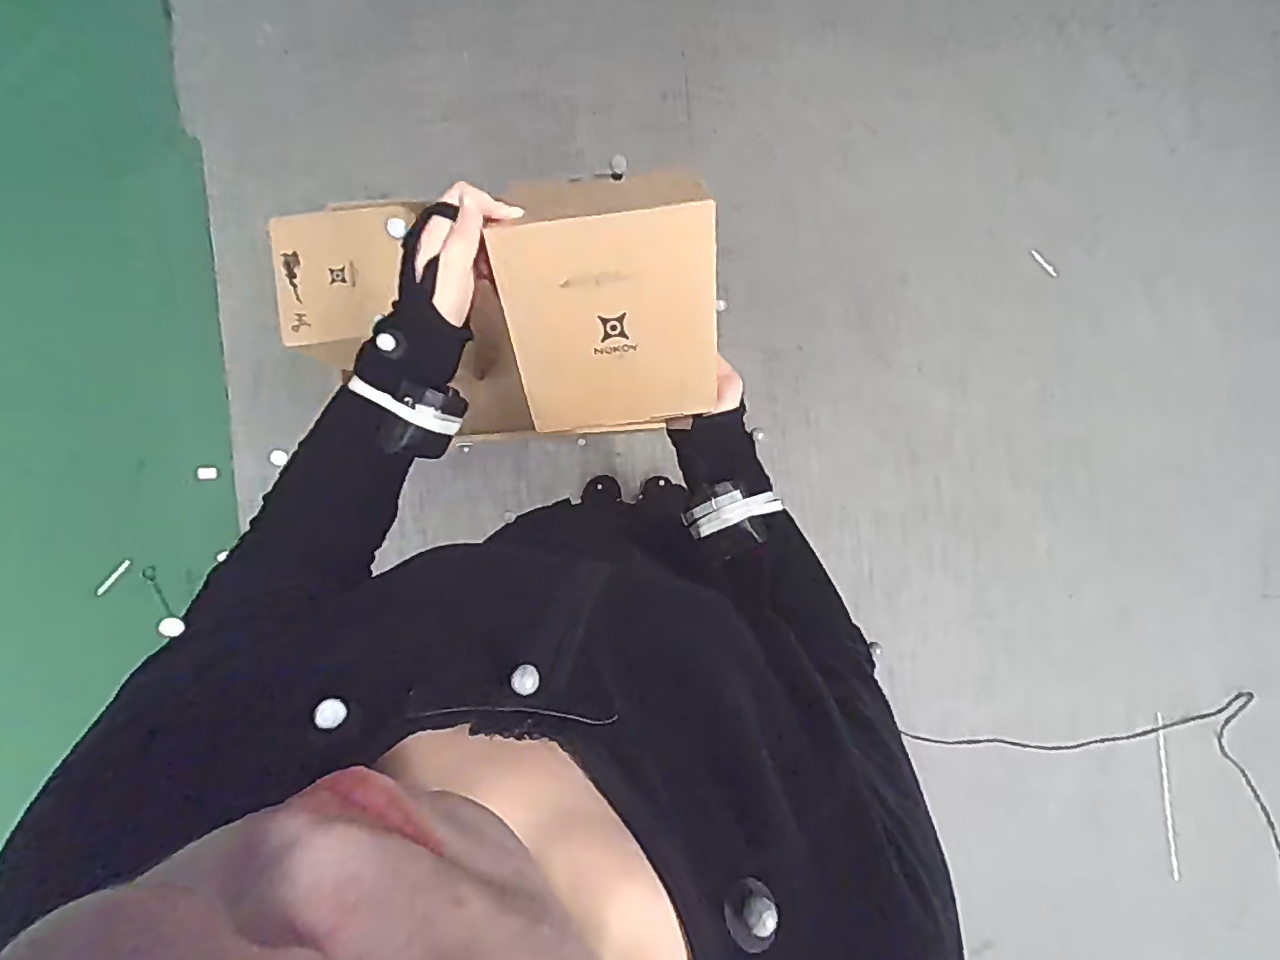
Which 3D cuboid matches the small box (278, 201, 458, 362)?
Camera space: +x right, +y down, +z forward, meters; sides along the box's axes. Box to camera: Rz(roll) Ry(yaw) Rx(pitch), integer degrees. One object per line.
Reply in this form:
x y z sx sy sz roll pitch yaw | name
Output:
-0.367 -0.269 0.765 0.179 0.176 0.168 -5 91 -1 | small box
